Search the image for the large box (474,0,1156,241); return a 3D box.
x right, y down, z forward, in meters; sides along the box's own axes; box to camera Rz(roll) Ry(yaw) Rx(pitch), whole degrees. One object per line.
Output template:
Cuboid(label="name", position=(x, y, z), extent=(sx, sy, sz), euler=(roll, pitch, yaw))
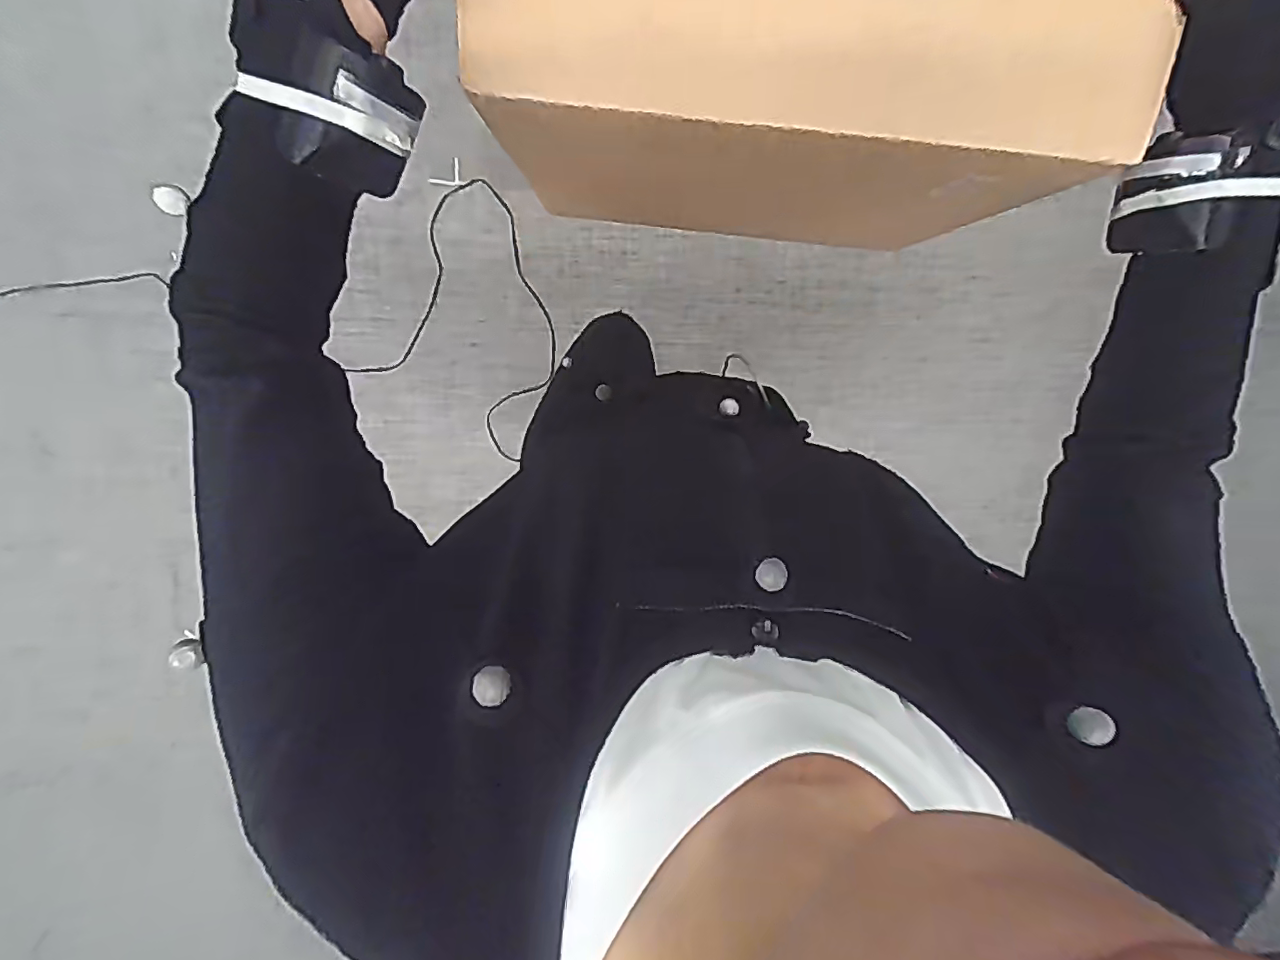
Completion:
Cuboid(label="large box", position=(0.105, -0.399, 0.437), extent=(0.408, 0.320, 0.320), euler=(5, 104, -2))
